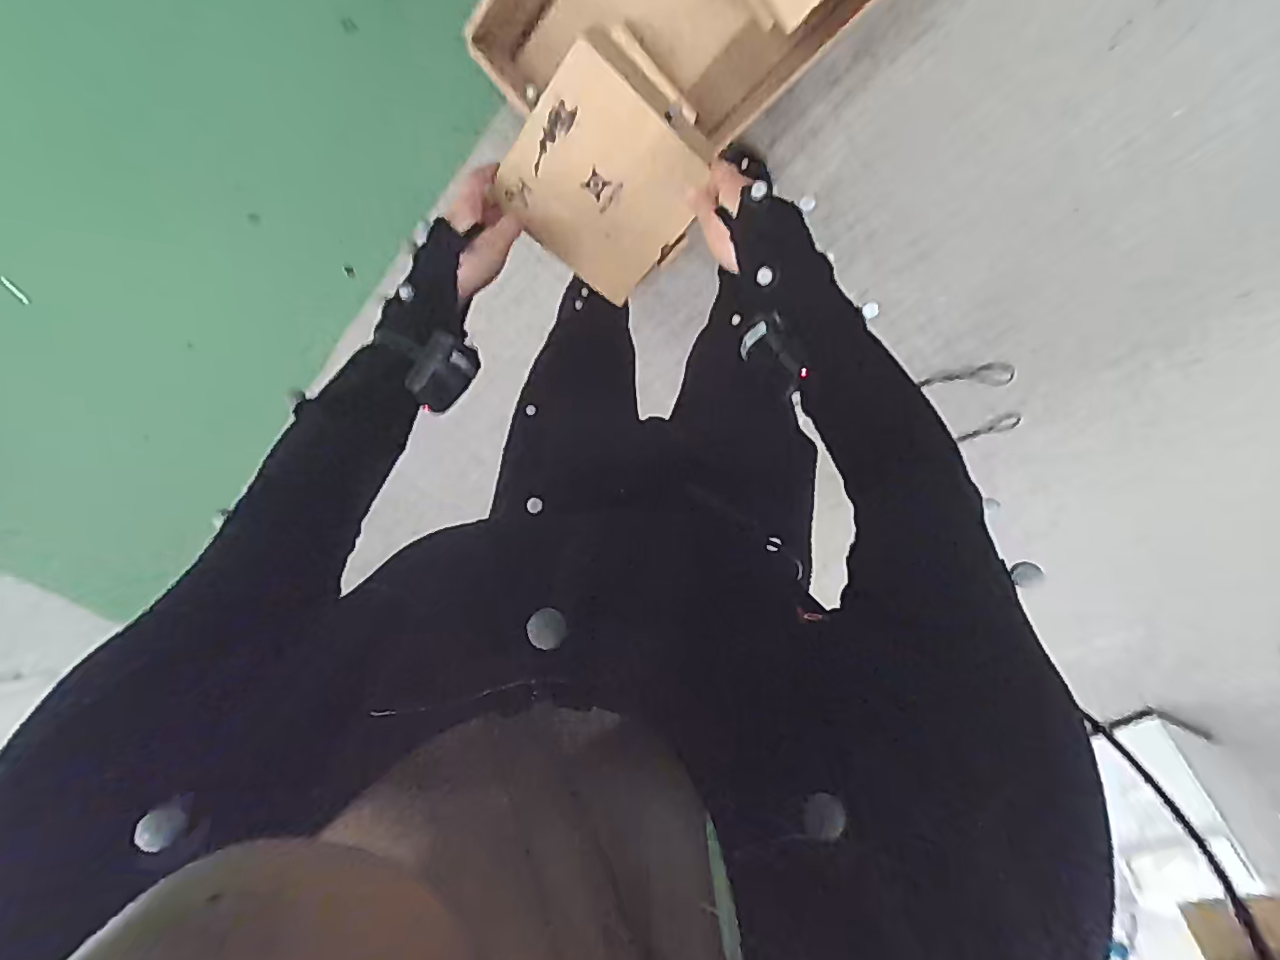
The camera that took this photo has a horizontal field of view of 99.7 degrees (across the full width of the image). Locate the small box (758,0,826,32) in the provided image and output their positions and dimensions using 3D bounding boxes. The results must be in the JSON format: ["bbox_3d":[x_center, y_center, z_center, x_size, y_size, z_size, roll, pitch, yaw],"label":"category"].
[{"bbox_3d":[0.190,-0.681,0.639,0.168,0.176,0.179,-33,121,31],"label":"small box"}]

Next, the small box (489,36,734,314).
[{"bbox_3d":[-0.027,-0.319,0.566,0.179,0.176,0.168,31,126,-26],"label":"small box"}]
